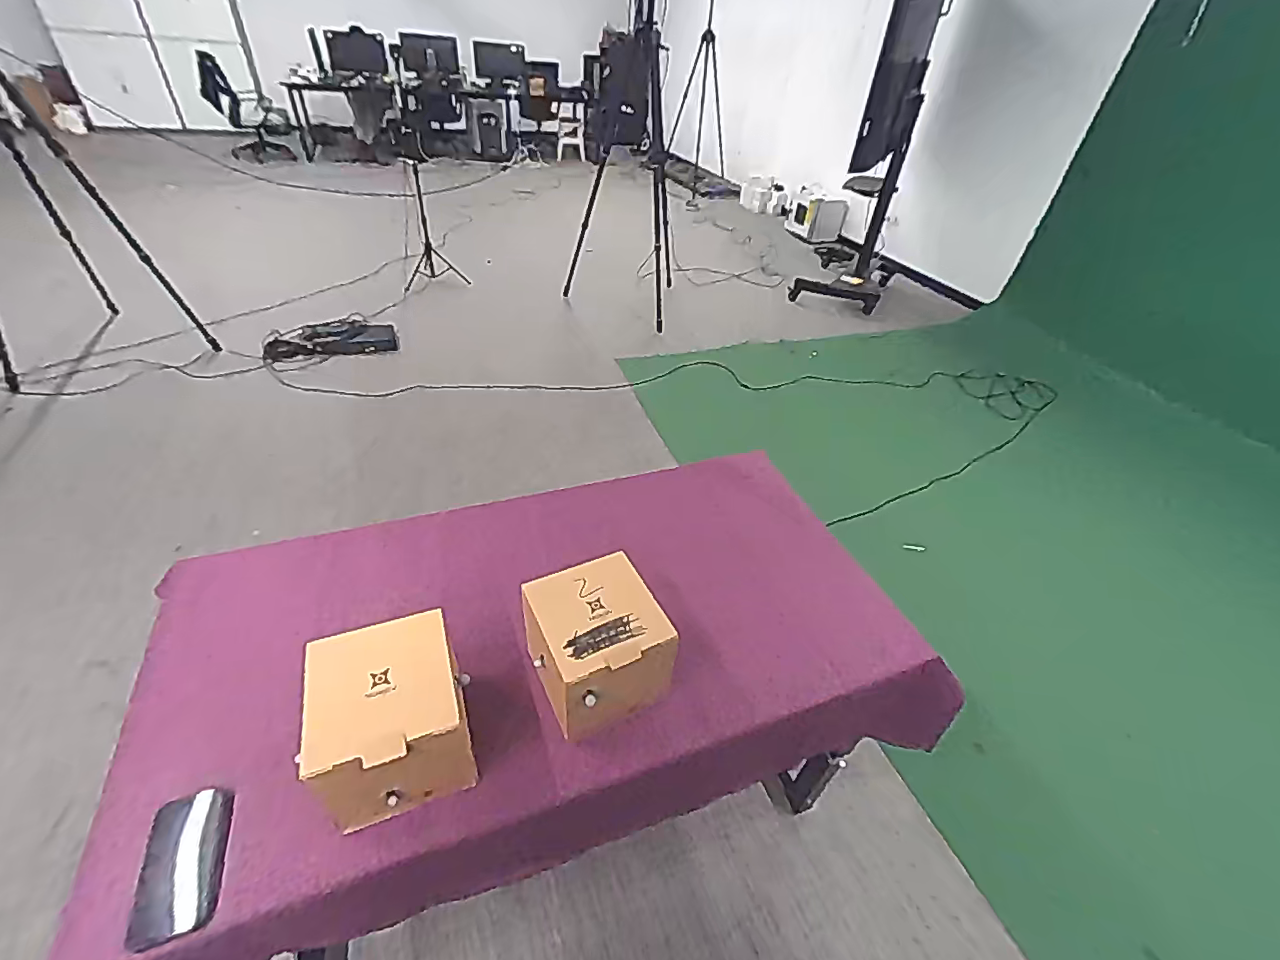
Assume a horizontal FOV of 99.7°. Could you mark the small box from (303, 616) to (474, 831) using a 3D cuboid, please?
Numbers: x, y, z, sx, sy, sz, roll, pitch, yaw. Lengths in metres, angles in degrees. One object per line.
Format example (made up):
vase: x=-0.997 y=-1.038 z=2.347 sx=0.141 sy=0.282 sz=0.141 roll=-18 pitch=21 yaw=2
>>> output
small box: x=-0.321 y=0.314 z=0.708 sx=0.168 sy=0.176 sz=0.179 roll=-12 pitch=43 yaw=-20
